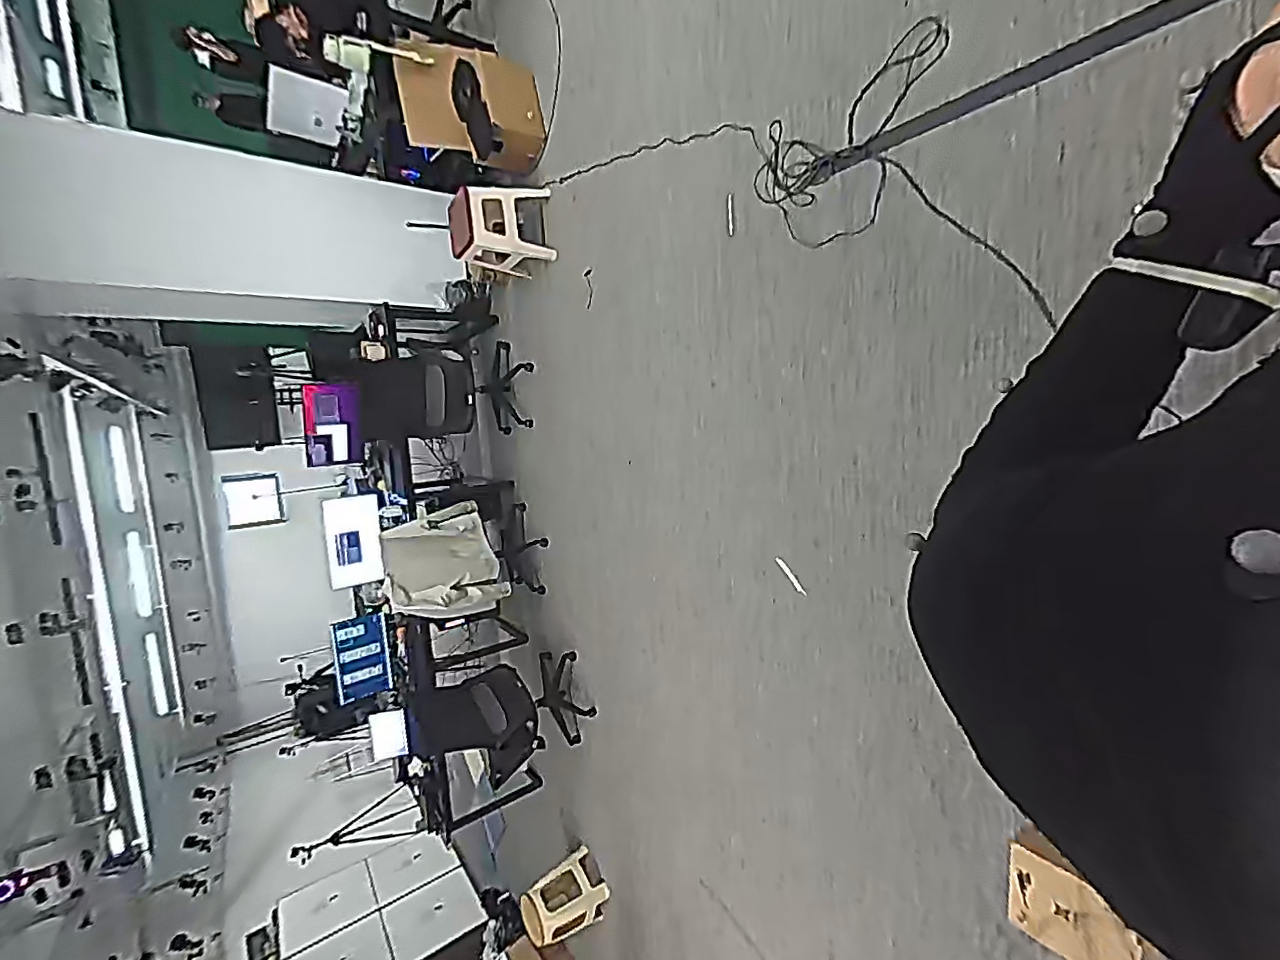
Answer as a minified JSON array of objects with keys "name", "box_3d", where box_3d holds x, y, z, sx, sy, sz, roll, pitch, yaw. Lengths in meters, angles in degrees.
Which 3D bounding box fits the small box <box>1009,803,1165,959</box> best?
[{"name":"small box","box_3d":[0.776,0.707,0.939,0.179,0.176,0.168,8,104,53]}]
